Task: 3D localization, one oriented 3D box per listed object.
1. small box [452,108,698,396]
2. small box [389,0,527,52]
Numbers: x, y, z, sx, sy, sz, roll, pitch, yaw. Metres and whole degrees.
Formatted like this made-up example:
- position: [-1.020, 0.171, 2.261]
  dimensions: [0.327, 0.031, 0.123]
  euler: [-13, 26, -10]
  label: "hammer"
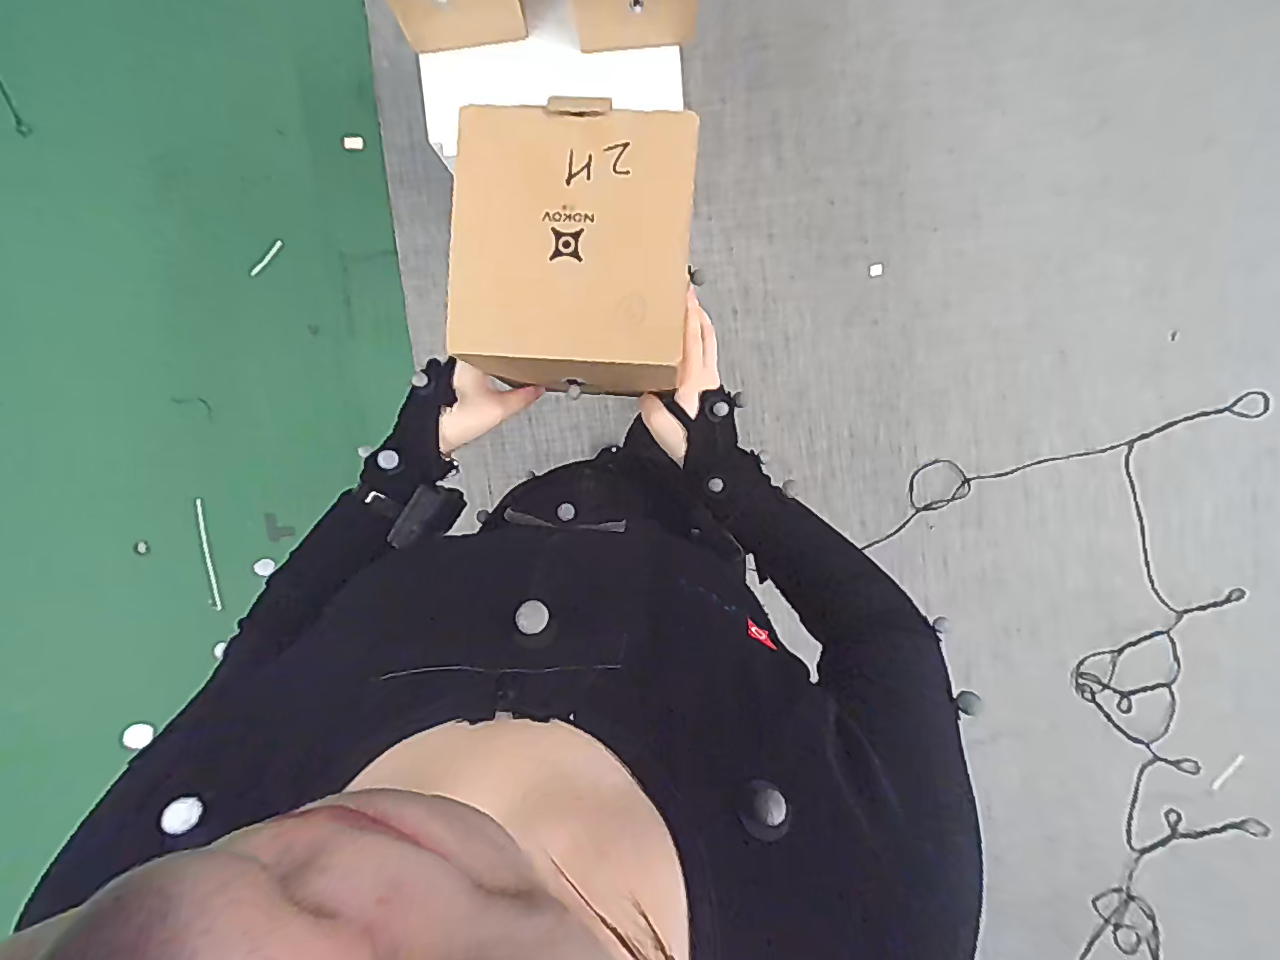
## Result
- position: [-0.043, -0.170, 0.457]
  dimensions: [0.168, 0.176, 0.179]
  euler: [4, 91, 2]
  label: "small box"
- position: [-0.263, -0.719, 0.726]
  dimensions: [0.179, 0.176, 0.168]
  euler: [-9, 97, -1]
  label: "small box"
